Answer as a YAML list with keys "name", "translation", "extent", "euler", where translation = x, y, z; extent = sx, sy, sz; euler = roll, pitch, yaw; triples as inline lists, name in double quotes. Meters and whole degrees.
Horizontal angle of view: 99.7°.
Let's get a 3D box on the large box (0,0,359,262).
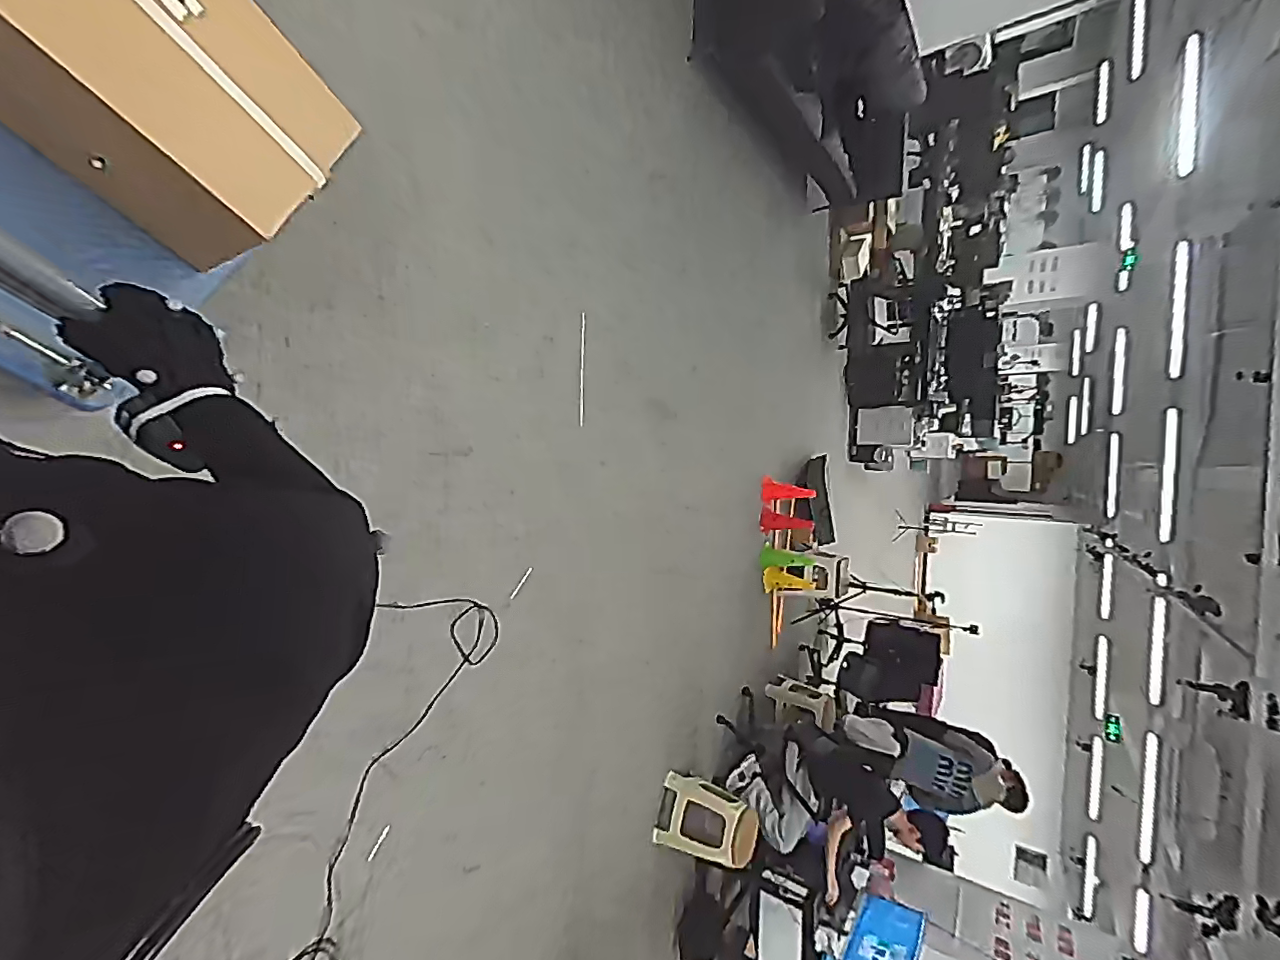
- name: "large box"
  translation: [-0.794, -0.651, 0.912]
  extent: [0.408, 0.320, 0.320]
  euler: [46, 56, -45]
